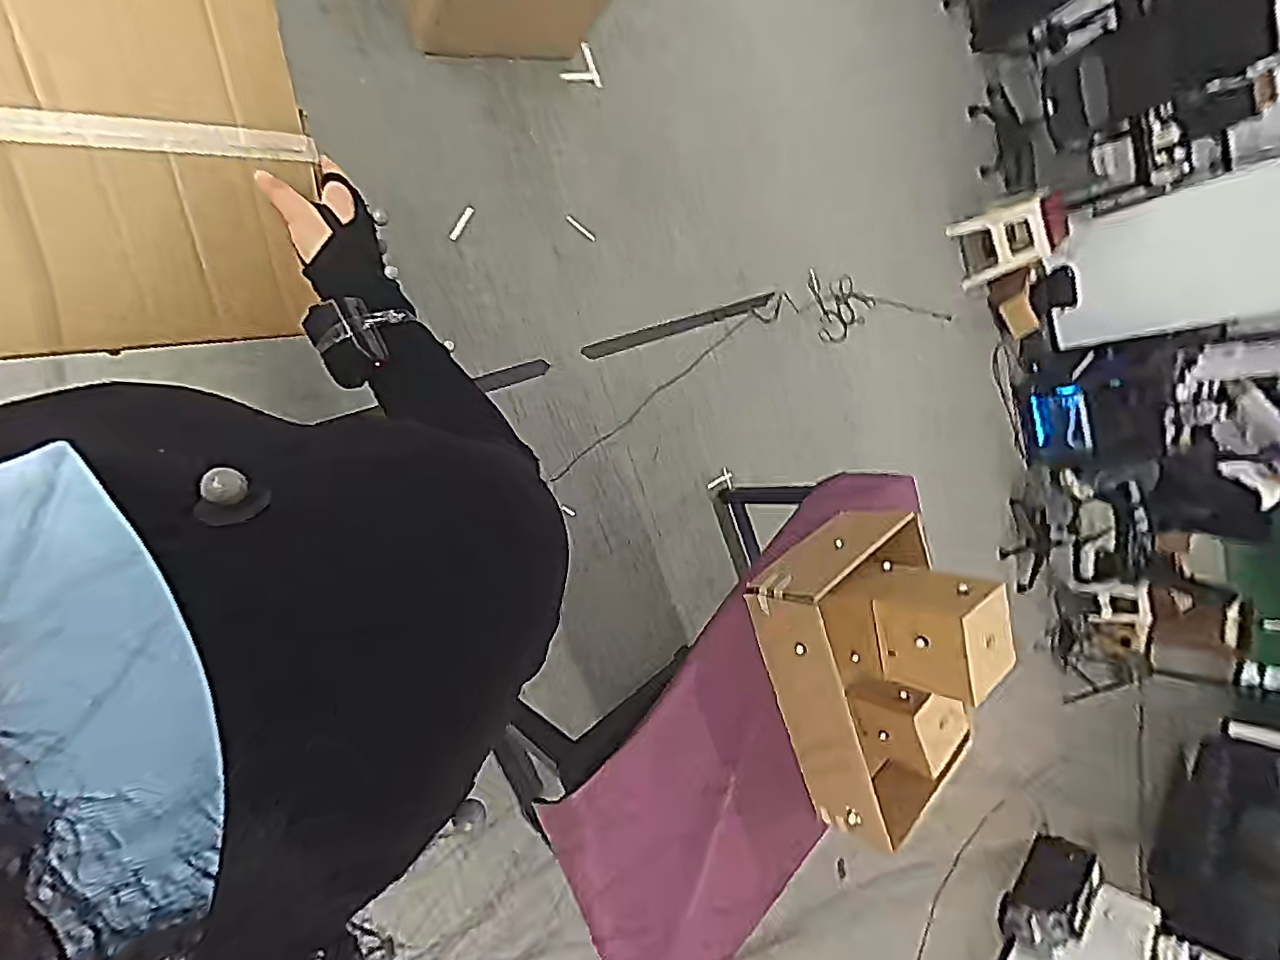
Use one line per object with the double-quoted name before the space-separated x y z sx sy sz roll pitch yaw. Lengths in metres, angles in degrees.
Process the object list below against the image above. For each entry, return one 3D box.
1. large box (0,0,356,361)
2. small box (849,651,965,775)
"large box" -0.535 -0.289 0.496 0.408 0.320 0.320 -16 114 -32
"small box" 0.602 0.520 1.237 0.179 0.176 0.168 -31 105 -31
